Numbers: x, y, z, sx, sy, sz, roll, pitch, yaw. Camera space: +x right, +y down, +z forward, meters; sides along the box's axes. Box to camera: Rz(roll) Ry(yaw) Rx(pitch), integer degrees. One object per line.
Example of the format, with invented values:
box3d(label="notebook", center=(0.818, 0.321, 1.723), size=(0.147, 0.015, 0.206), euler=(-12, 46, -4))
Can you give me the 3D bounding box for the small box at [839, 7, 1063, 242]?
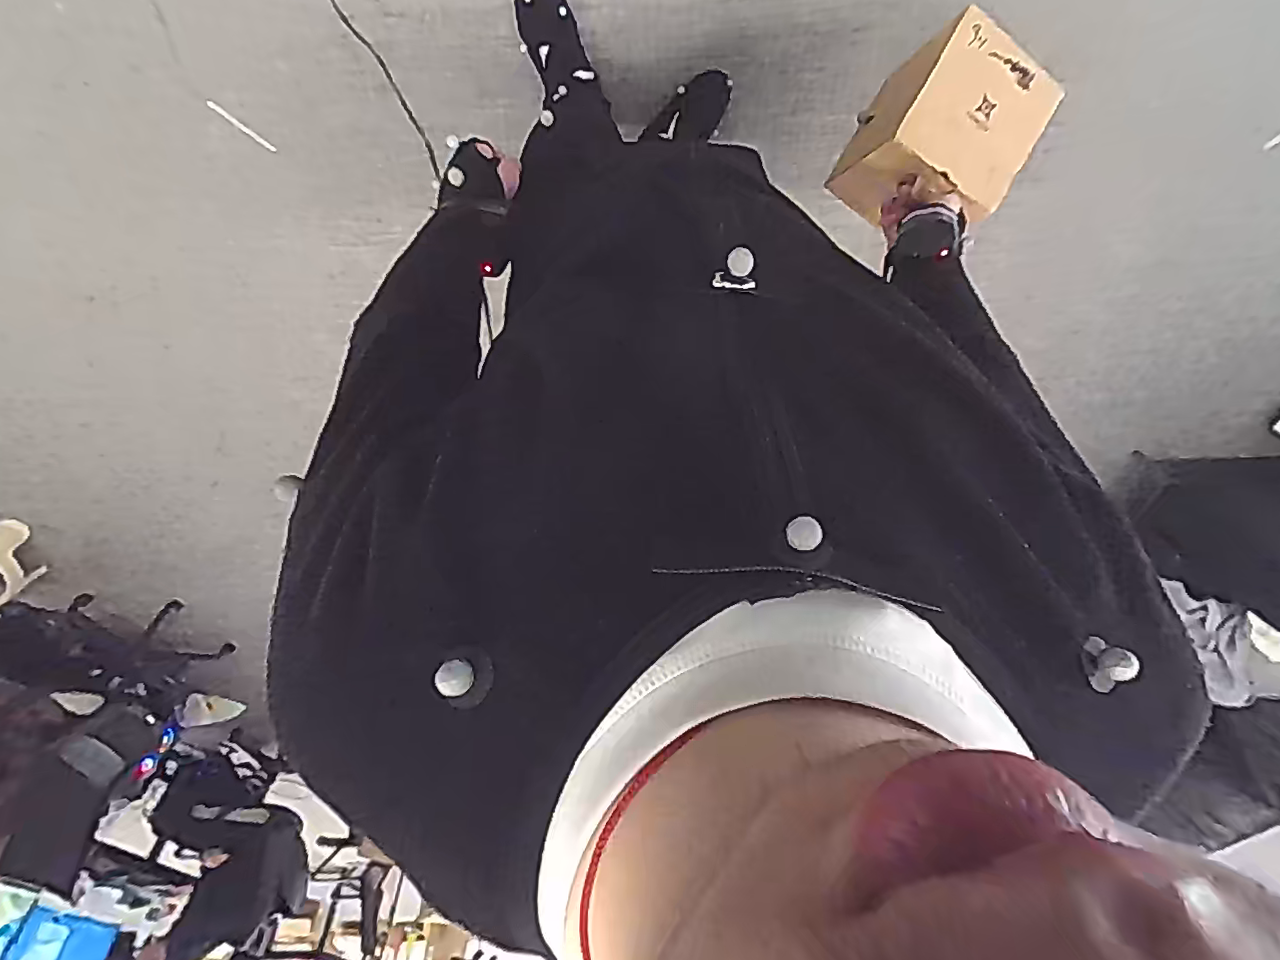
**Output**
box3d(label="small box", center=(0.399, -0.456, 0.731), size=(0.168, 0.176, 0.179), euler=(26, 94, -10))
